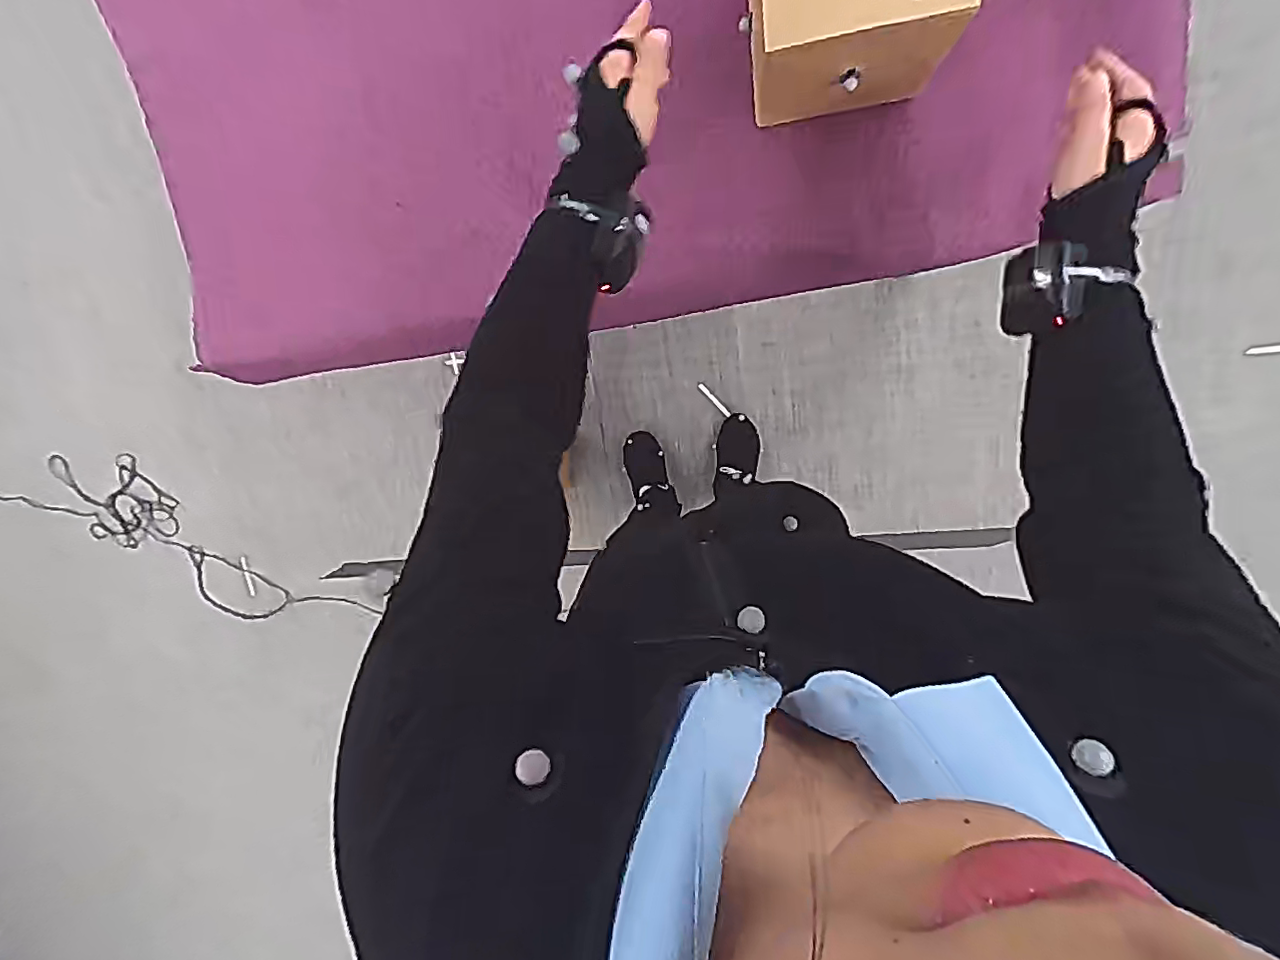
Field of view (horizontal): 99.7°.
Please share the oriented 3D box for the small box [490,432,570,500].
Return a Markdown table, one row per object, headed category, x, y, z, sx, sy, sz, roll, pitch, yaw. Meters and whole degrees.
| category | x | y | z | sx | sy | sz | roll | pitch | yaw |
| --- | --- | --- | --- | --- | --- | --- | --- | --- | --- |
| small box | -0.291 | -0.029 | 1.466 | 0.168 | 0.176 | 0.179 | 0 | 104 | 8 |
